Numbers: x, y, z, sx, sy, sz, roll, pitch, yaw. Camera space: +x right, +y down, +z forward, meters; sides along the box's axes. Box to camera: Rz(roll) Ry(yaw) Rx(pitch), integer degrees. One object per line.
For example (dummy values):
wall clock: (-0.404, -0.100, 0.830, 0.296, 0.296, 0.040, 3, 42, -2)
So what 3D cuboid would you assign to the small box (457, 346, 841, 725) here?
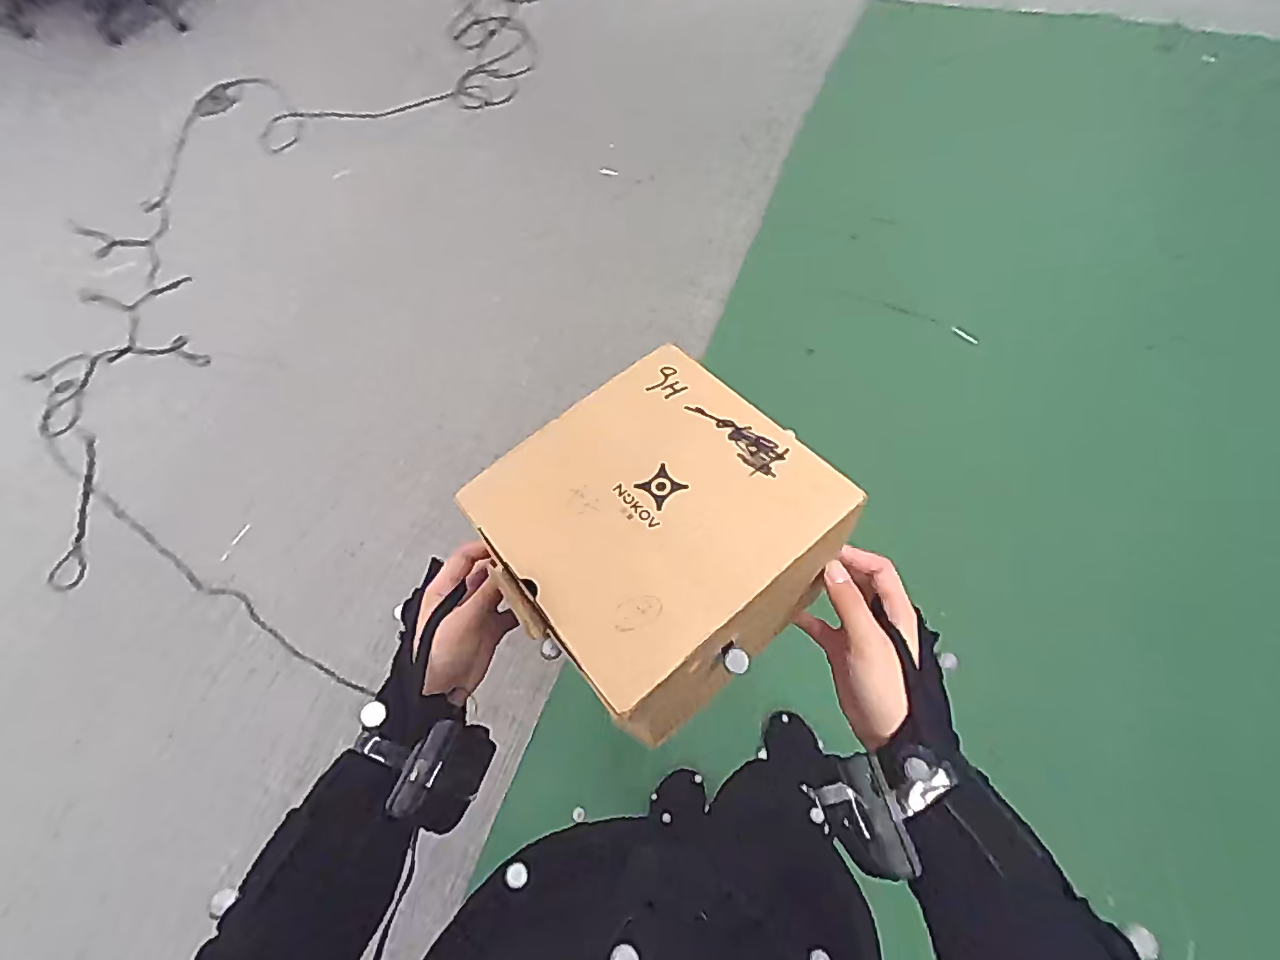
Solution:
small box: (0.012, 0.048, 0.387, 0.179, 0.176, 0.168, -39, 62, -14)
